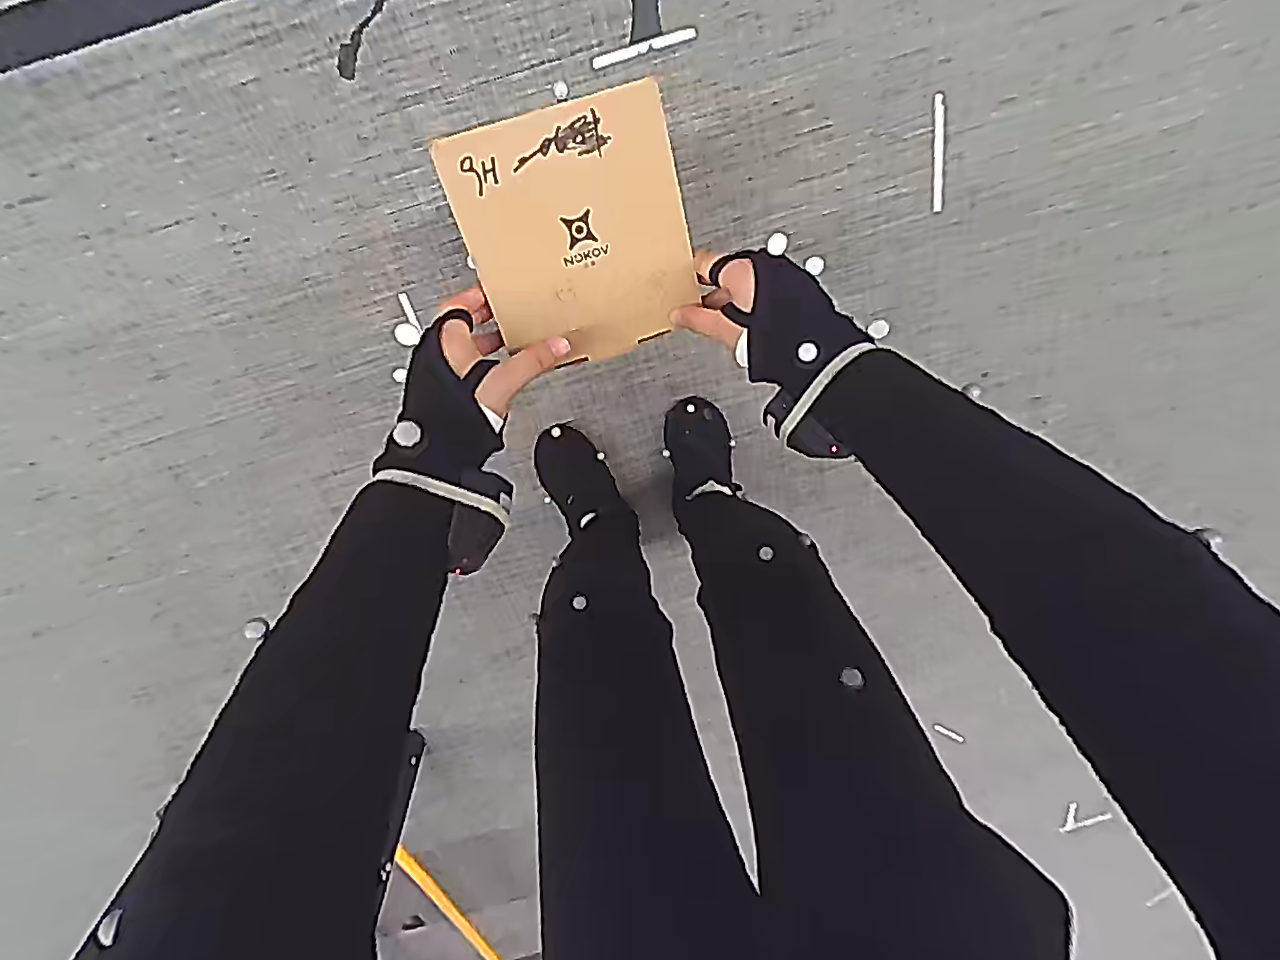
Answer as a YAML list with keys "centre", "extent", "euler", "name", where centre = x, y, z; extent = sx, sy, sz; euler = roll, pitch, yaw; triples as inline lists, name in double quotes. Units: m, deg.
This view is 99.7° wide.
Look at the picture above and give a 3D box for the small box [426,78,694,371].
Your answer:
- centre: [-0.064, -0.223, 0.482]
  extent: [0.168, 0.176, 0.179]
  euler: [-18, 120, -3]
  name: "small box"
